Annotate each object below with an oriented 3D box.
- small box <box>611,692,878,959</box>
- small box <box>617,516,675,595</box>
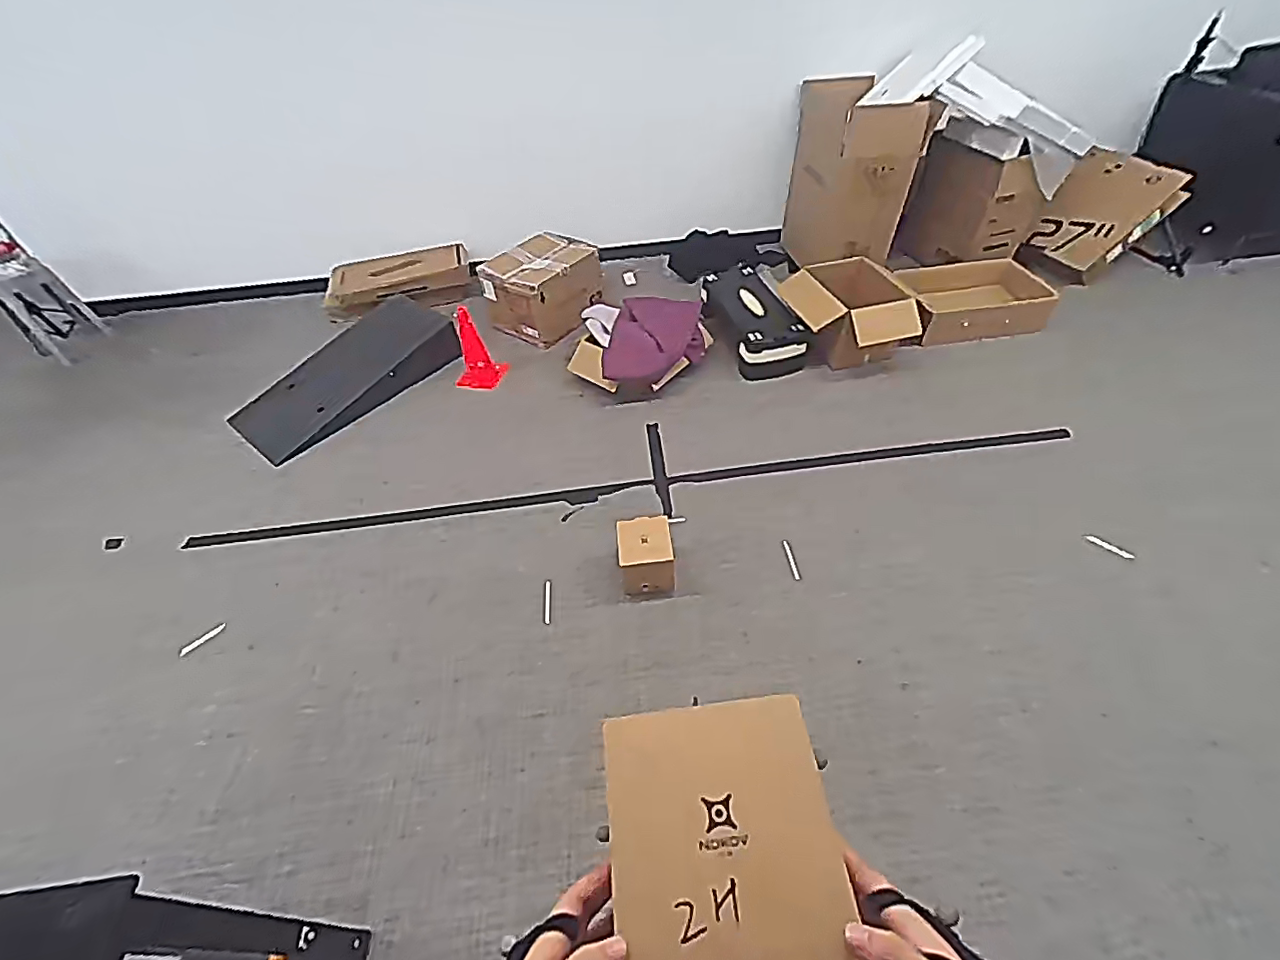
[{"bbox_3d":[0.070,0.303,0.457,0.168,0.176,0.179,-9,51,1],"label":"small box"},{"bbox_3d":[0.017,0.241,1.718,0.168,0.176,0.179,-7,48,-1],"label":"small box"}]
